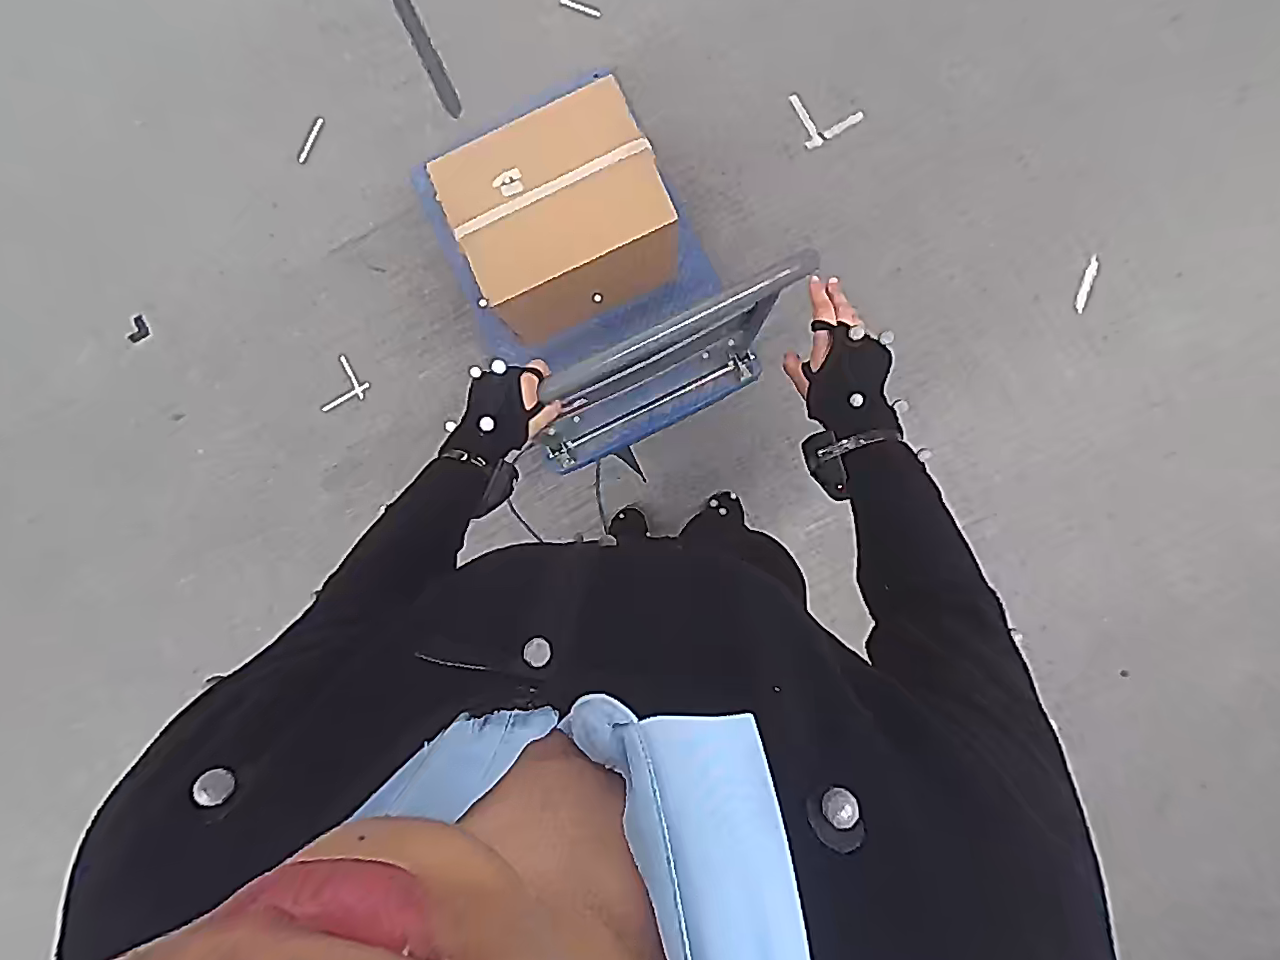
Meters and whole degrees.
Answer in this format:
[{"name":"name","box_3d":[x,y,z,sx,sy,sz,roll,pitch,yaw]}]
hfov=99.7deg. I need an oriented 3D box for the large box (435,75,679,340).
[{"name":"large box","box_3d":[-0.156,-0.563,1.197,0.408,0.320,0.320,-24,88,3]}]
